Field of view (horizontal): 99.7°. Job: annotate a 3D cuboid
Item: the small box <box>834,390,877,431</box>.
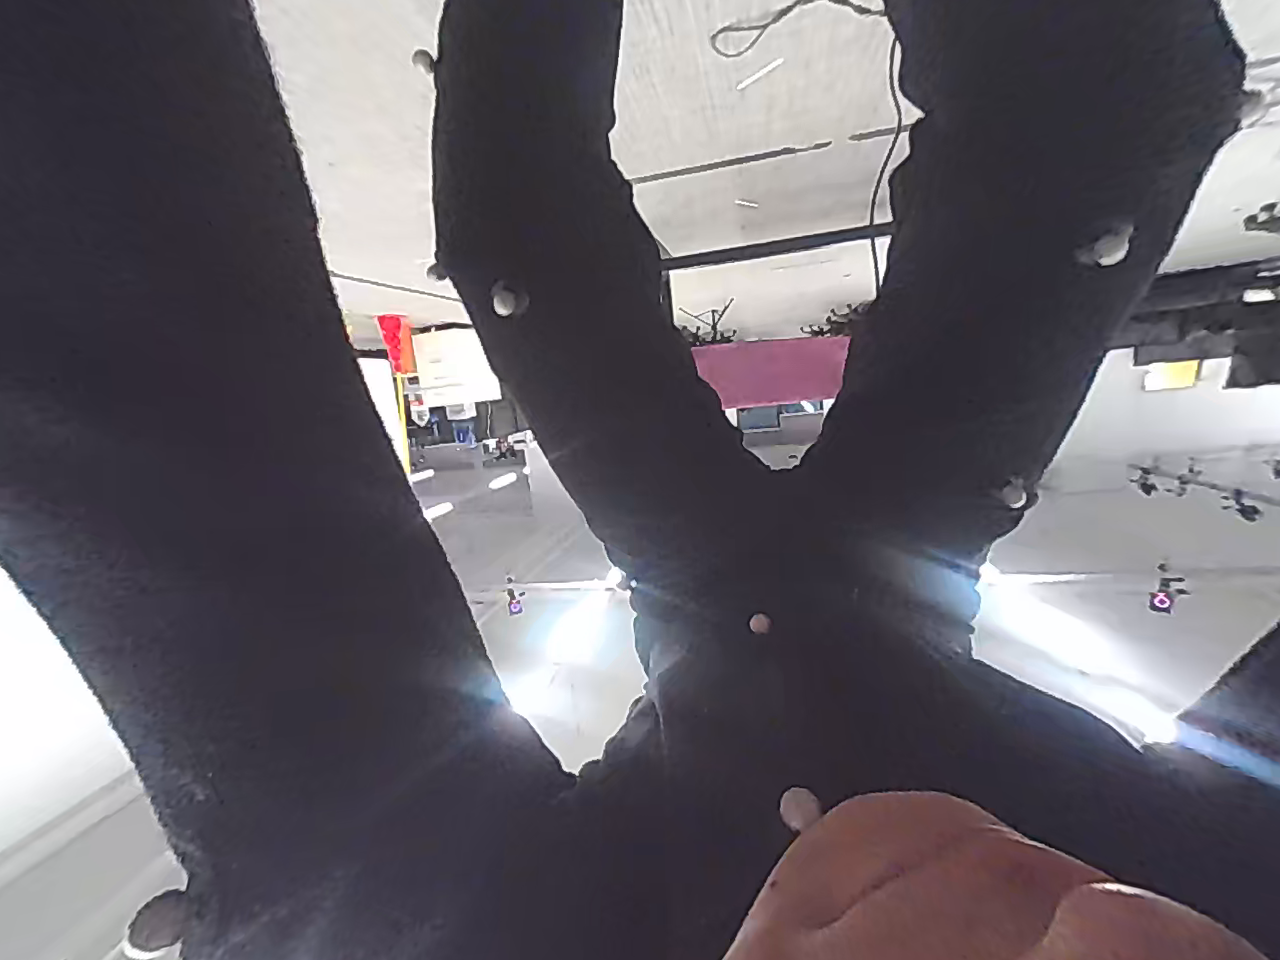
[{"bbox_3d":[0.999,-0.325,2.502,0.179,0.176,0.168,-3,-170,15],"label":"small box"}]
